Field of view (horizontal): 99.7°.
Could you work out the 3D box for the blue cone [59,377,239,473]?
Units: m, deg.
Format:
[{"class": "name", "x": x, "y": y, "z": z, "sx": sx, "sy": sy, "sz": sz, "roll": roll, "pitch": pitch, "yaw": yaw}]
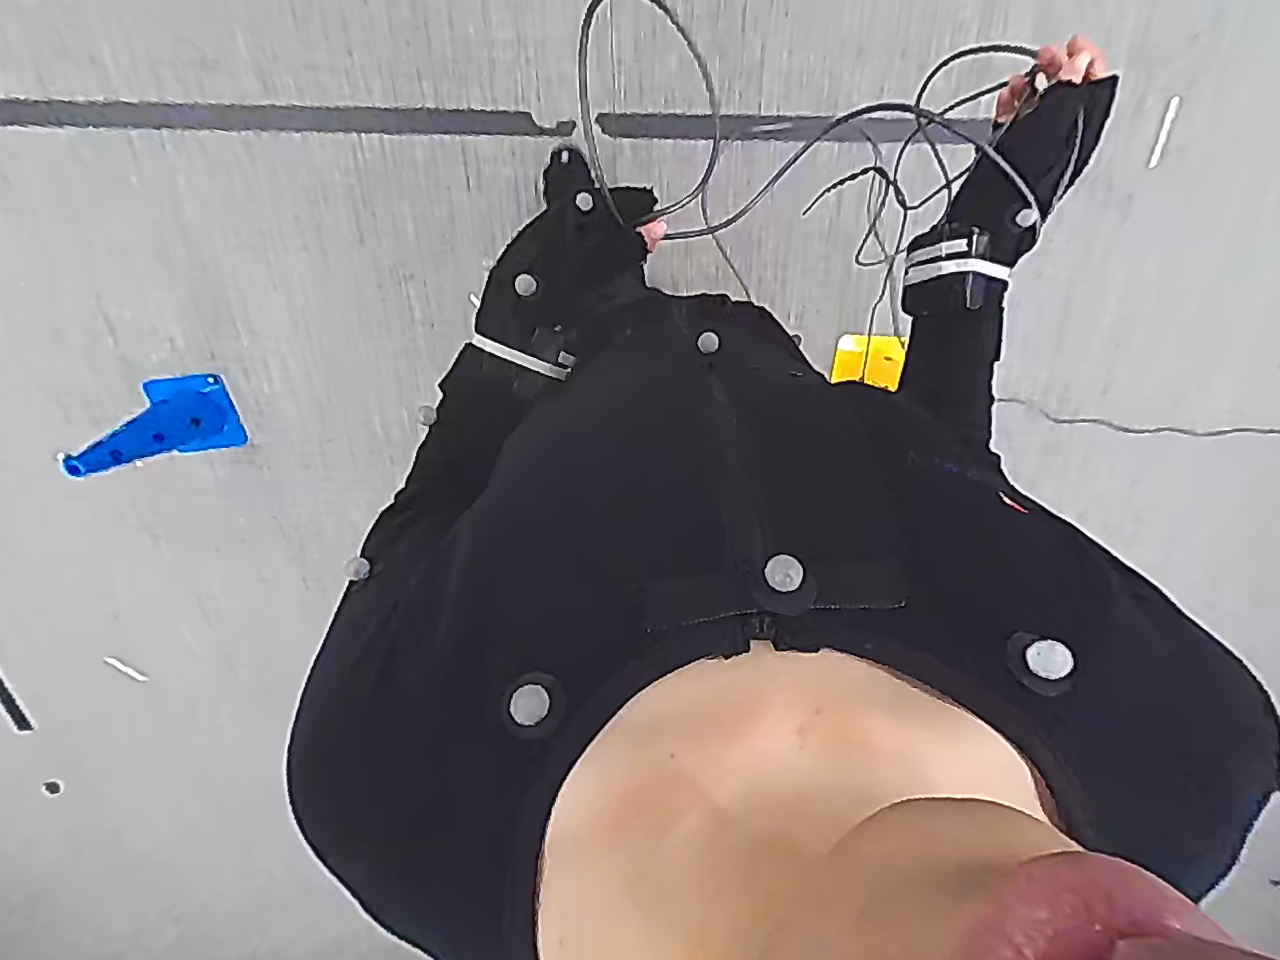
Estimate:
[{"class": "blue cone", "x": -1.144, "y": -0.097, "z": 1.245, "sx": 0.193, "sy": 0.380, "sz": 0.192, "roll": -6, "pitch": 114, "yaw": 0}]
